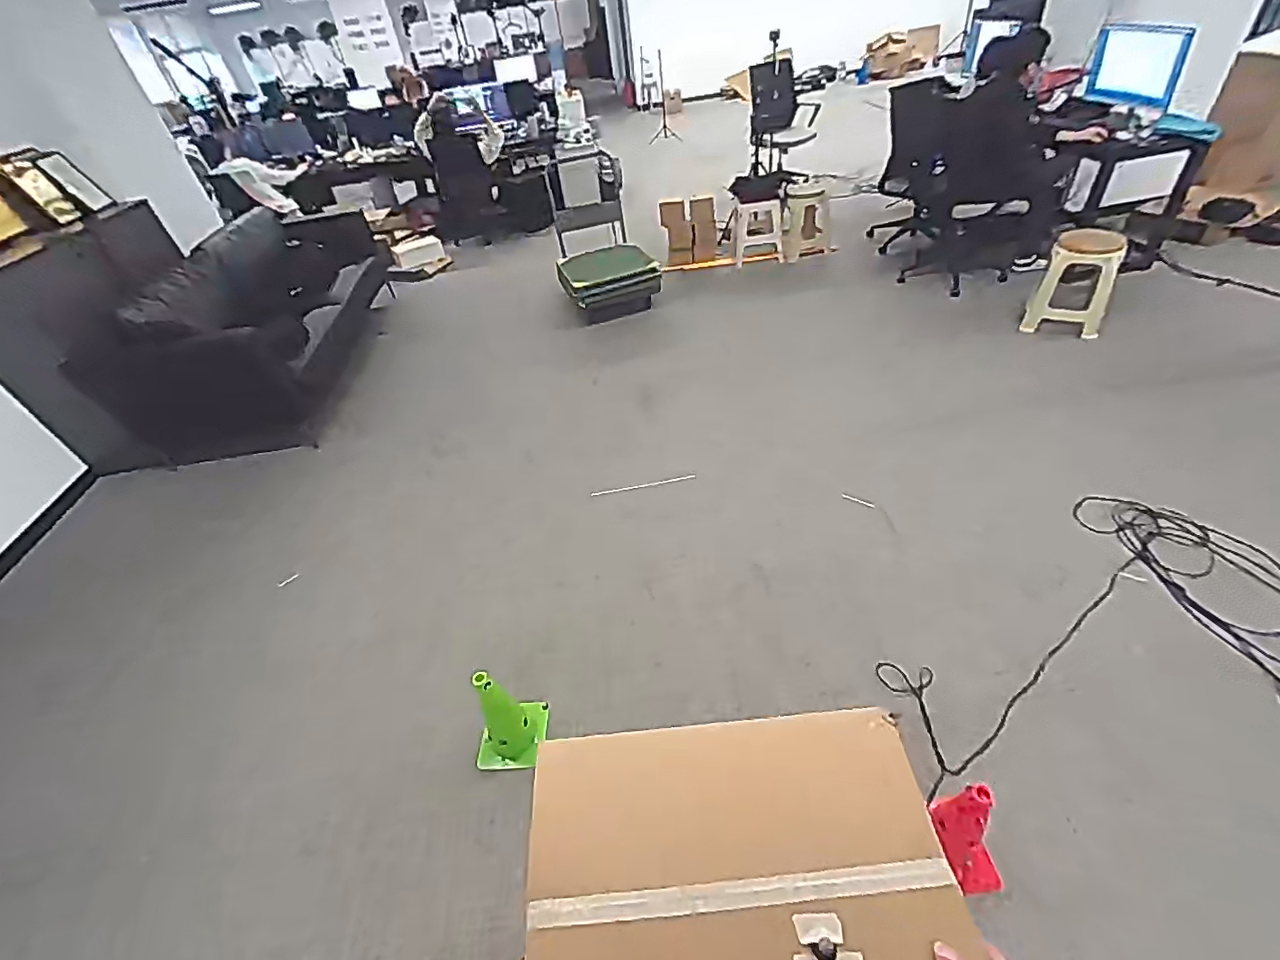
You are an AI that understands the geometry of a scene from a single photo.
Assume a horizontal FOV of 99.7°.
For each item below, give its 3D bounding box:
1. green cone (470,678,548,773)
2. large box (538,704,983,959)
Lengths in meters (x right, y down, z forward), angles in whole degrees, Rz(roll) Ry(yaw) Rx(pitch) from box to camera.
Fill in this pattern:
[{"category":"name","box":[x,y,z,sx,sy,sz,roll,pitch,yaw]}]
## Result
[{"category":"green cone","box":[-0.412,0.669,1.553,0.200,0.368,0.202,-6,43,5]},{"category":"large box","box":[0.108,0.496,0.628,0.408,0.320,0.320,-6,47,0]}]
